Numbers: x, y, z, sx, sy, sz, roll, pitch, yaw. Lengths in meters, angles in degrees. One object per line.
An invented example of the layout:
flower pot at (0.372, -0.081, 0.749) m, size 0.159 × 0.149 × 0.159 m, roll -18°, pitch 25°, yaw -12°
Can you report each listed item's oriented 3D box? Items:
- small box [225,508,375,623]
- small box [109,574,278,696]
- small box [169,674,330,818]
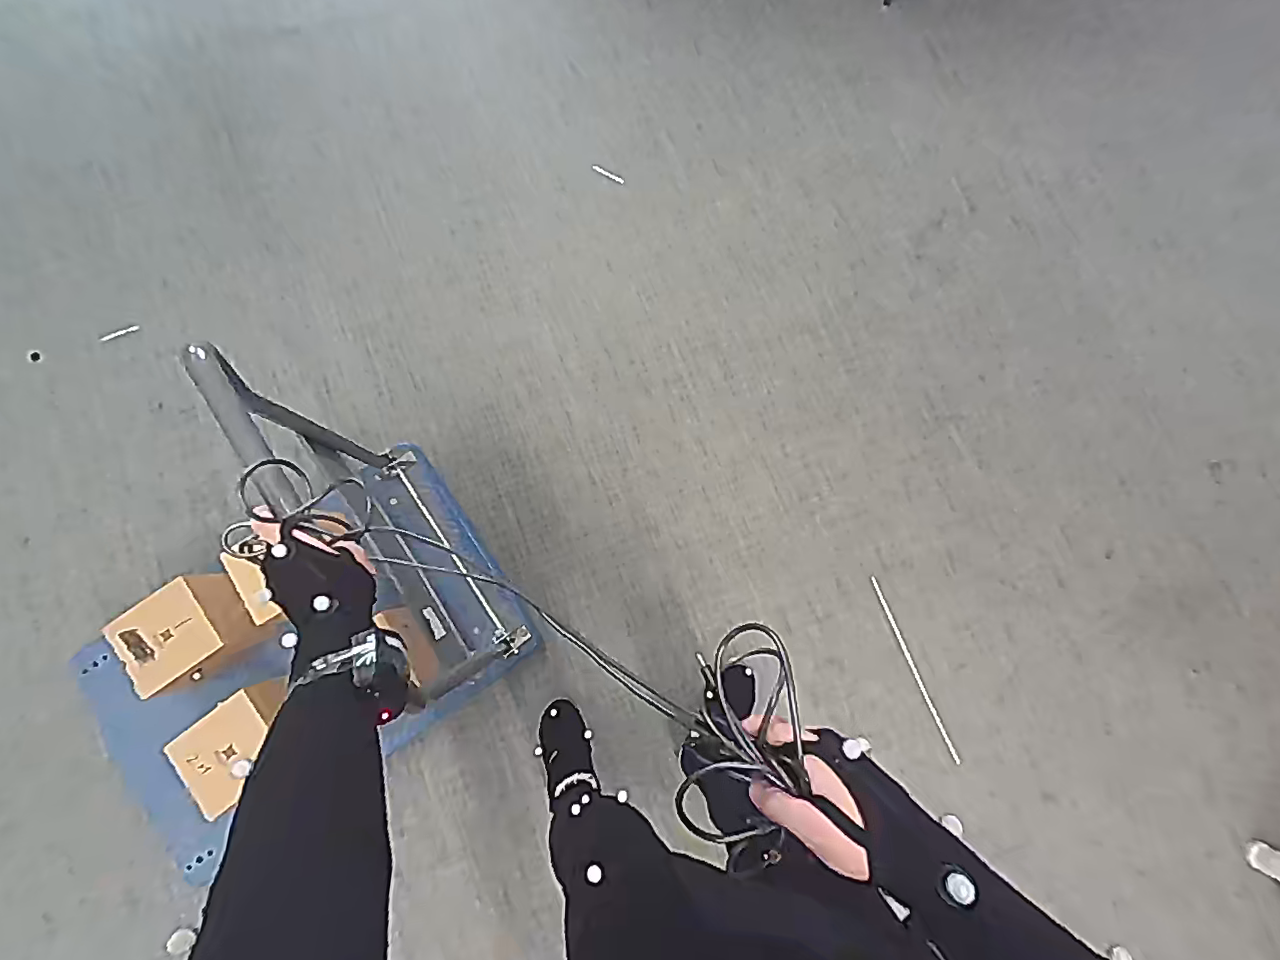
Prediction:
small box at (-0.703, 0.179, 1.137) m, size 0.179 × 0.176 × 0.168 m, roll -32°, pitch 83°, yaw -5°
small box at (-0.908, 0.310, 1.117) m, size 0.179 × 0.176 × 0.168 m, roll -35°, pitch 84°, yaw -6°
small box at (-0.764, 0.519, 1.086) m, size 0.179 × 0.176 × 0.168 m, roll -38°, pitch 83°, yaw -5°
